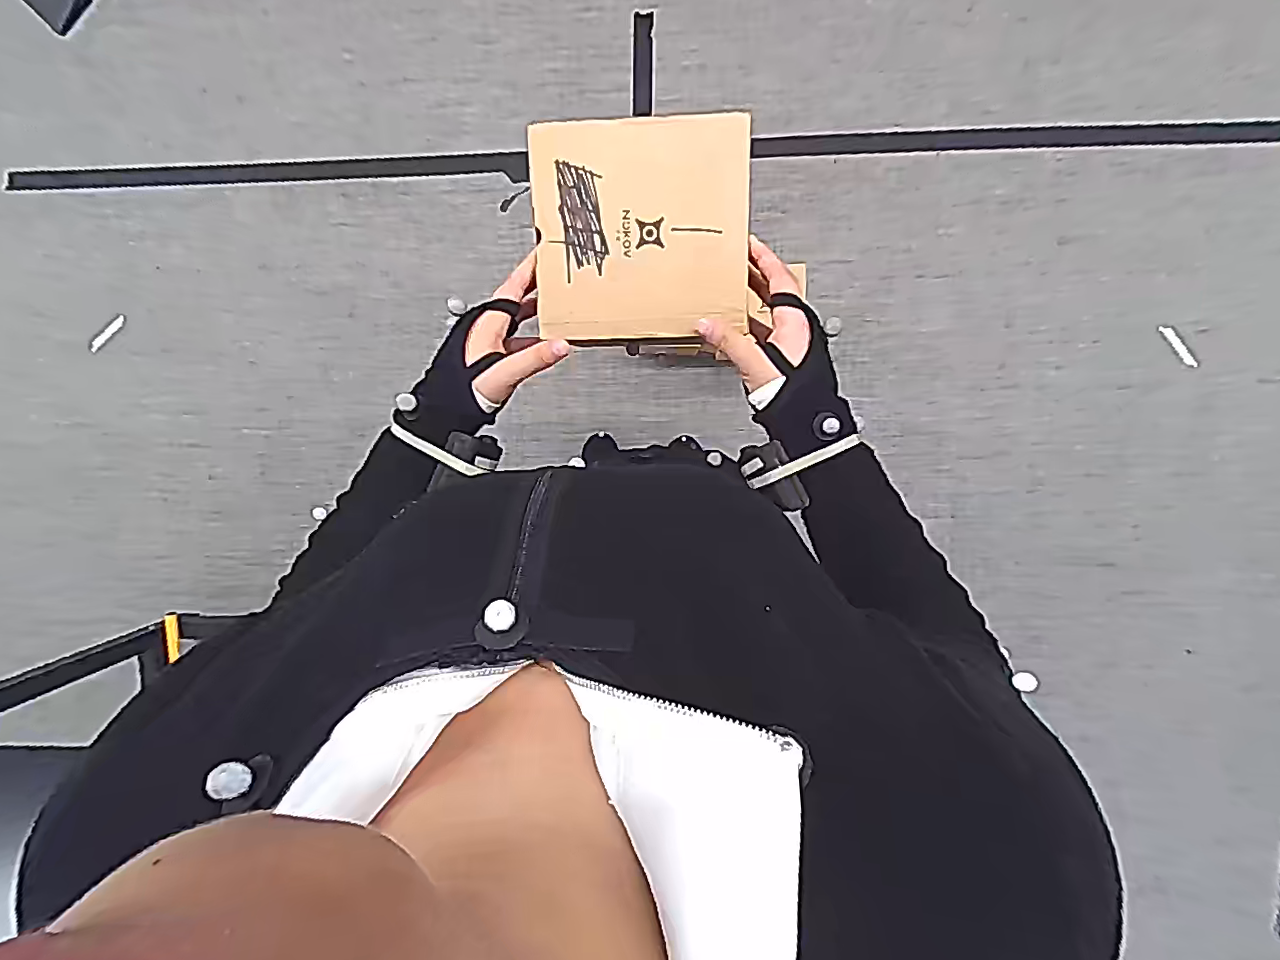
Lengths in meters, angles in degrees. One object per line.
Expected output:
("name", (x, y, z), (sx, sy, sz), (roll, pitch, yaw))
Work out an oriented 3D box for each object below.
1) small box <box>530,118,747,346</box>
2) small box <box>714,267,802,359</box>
("small box", (0.005, -0.217, 0.520), (0.179, 0.176, 0.168), (0, 102, 5))
("small box", (0.256, -0.365, 1.211), (0.168, 0.176, 0.179), (1, 96, 2))
